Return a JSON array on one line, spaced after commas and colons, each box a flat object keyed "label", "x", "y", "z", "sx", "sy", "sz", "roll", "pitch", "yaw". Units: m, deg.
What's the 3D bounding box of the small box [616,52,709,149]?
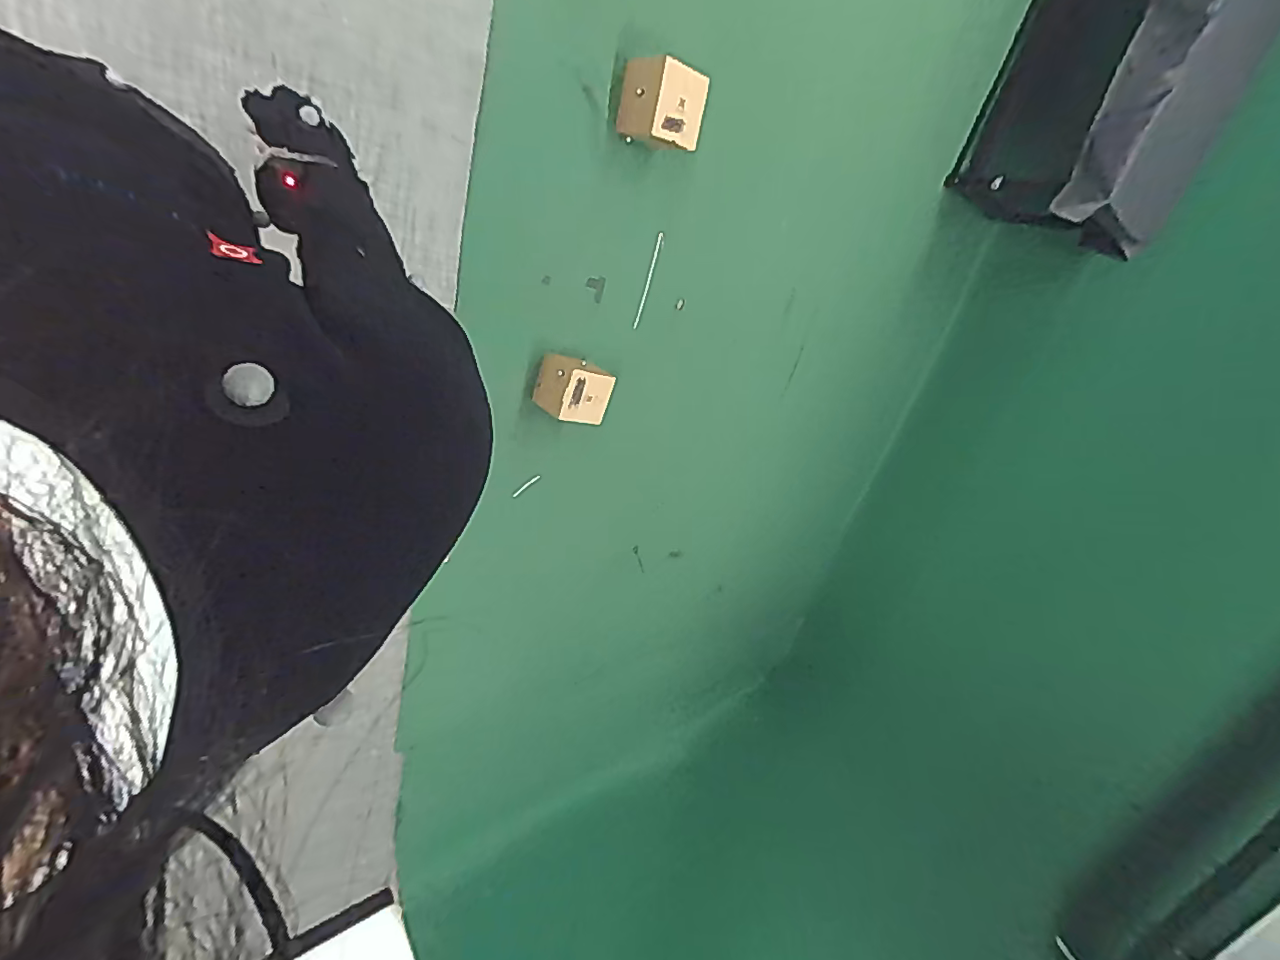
[{"label": "small box", "x": 0.054, "y": -1.031, "z": 1.478, "sx": 0.168, "sy": 0.176, "sz": 0.179, "roll": -8, "pitch": 122, "yaw": -40}]
